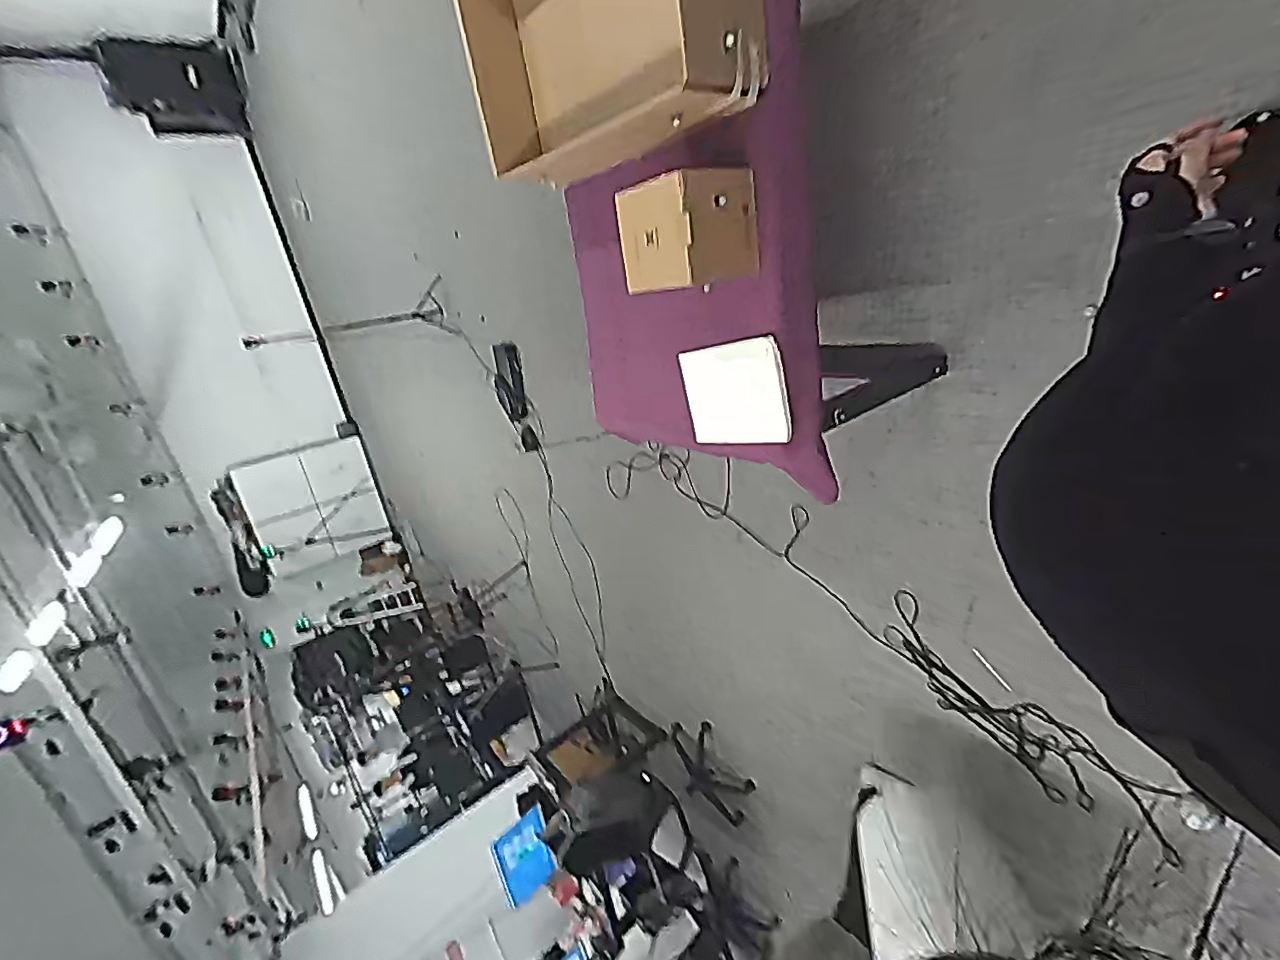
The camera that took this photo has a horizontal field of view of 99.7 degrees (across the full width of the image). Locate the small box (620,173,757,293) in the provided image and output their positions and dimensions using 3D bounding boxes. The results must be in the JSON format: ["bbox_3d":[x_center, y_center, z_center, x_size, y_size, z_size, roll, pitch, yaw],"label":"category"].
[{"bbox_3d":[0.091,-0.429,0.948,0.179,0.176,0.168,18,123,51],"label":"small box"}]
